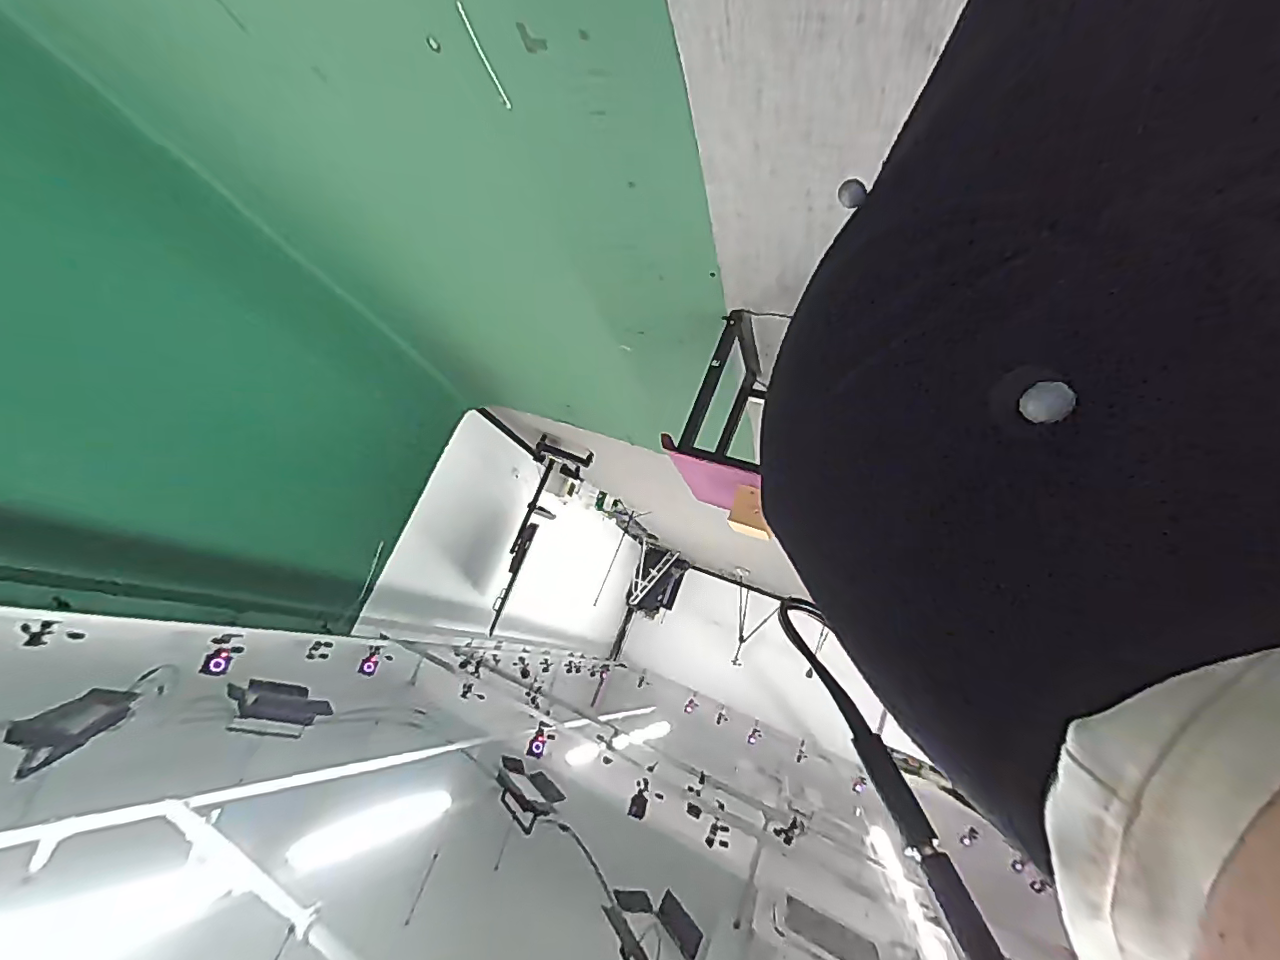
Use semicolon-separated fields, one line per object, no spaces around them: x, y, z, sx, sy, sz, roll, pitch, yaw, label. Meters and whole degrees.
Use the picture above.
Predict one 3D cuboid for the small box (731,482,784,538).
0.488;0.121;2.227;0.168;0.176;0.179;16;168;24;small box
